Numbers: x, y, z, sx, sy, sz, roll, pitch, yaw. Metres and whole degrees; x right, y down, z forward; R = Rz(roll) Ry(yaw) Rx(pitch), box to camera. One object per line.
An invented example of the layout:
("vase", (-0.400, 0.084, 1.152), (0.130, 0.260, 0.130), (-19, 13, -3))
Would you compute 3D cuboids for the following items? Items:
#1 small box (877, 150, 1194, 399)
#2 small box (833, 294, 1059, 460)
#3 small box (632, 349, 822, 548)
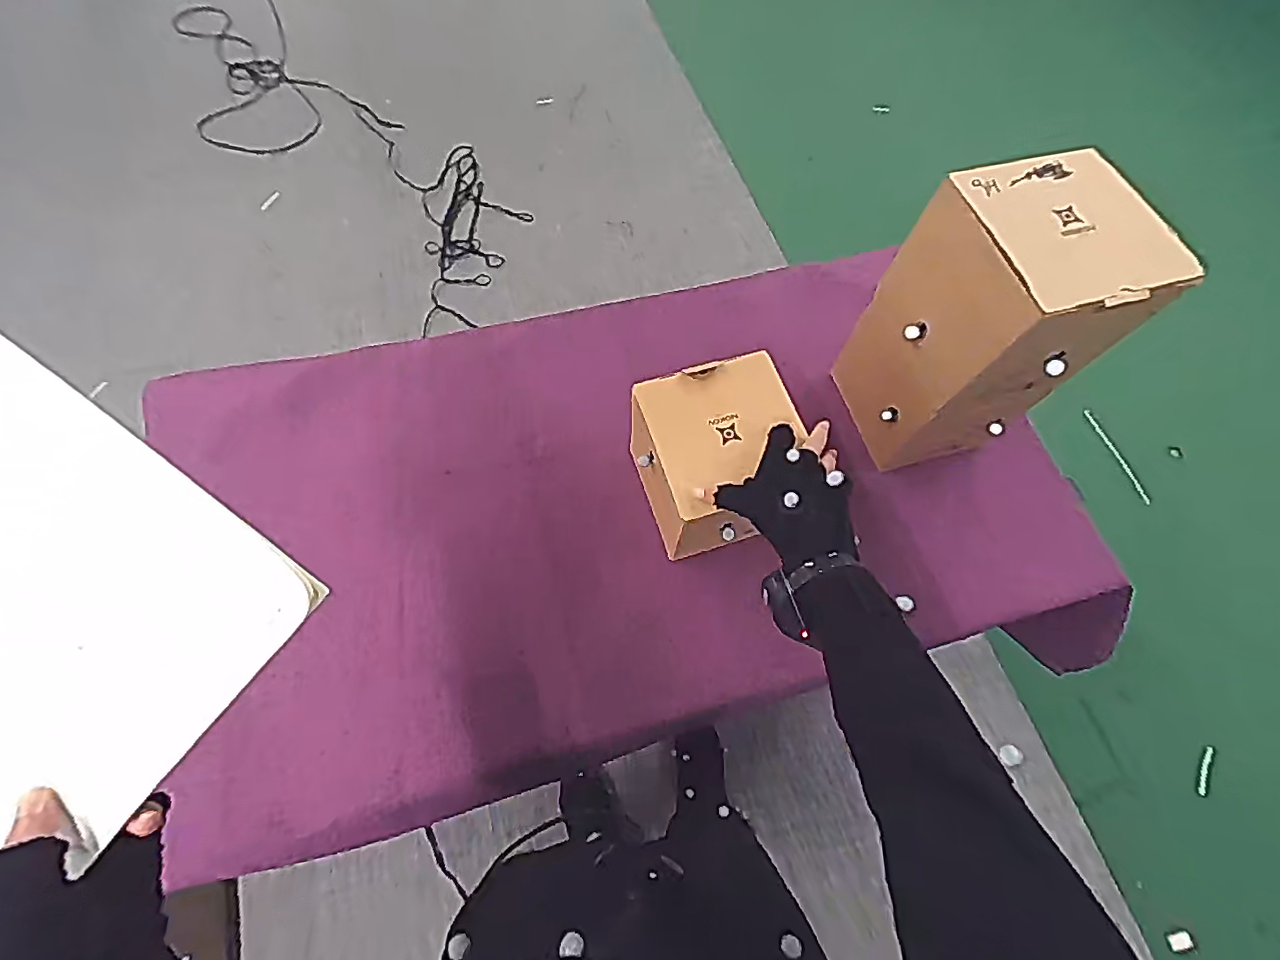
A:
("small box", (0.387, -0.201, 0.570), (0.168, 0.176, 0.179), (-13, 69, -8))
("small box", (0.388, -0.141, 0.722), (0.168, 0.176, 0.179), (-13, 68, -7))
("small box", (0.092, -0.027, 0.667), (0.168, 0.176, 0.179), (-16, 68, -8))
